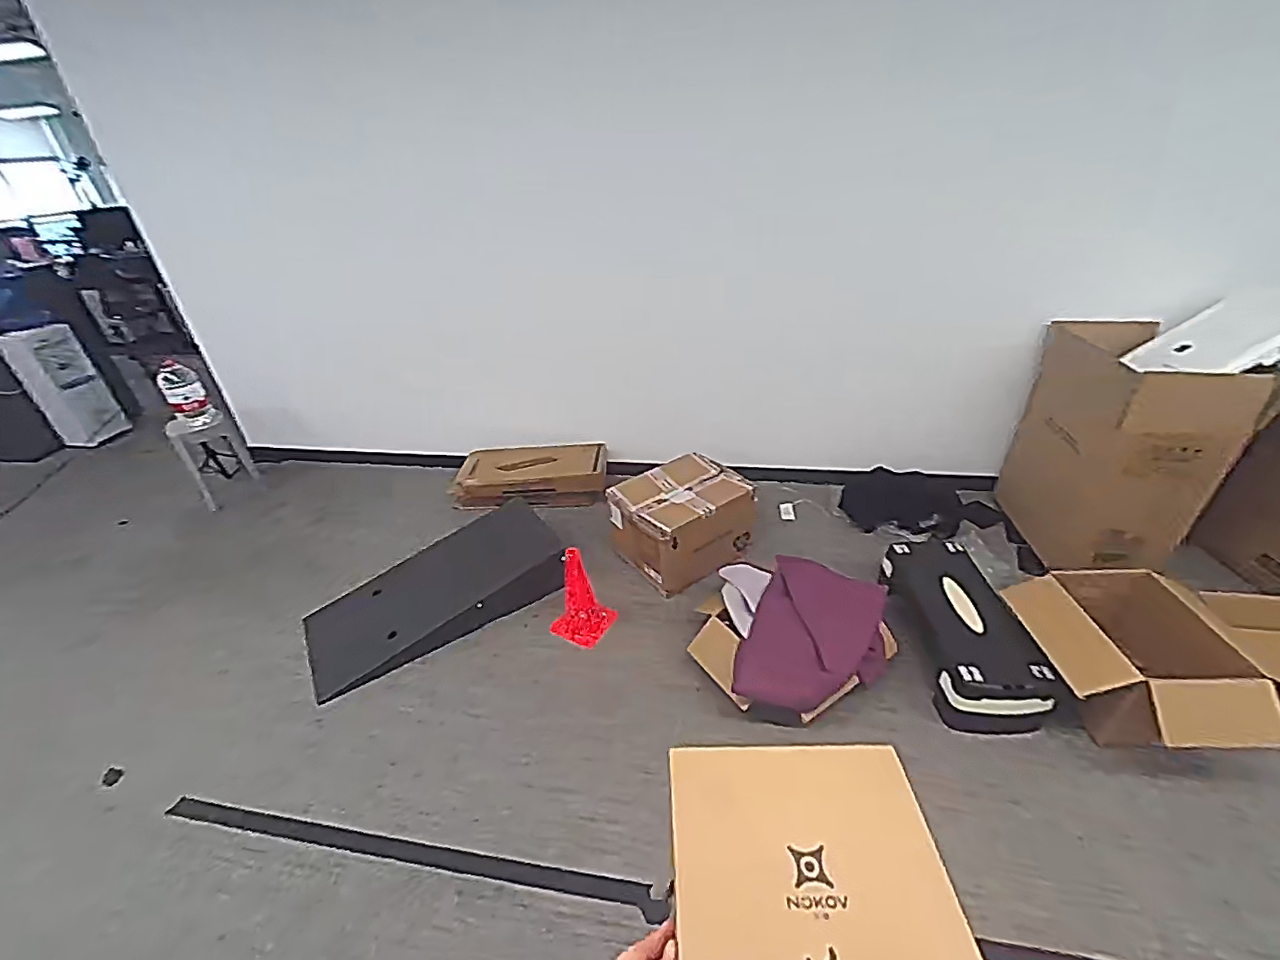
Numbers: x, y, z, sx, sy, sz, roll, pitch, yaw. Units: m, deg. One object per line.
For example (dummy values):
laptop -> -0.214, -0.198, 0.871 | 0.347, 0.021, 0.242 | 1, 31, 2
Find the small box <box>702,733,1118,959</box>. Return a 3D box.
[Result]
small box -> 0.124, 0.265, 0.289 | 0.168, 0.176, 0.179 | -2, 32, 1
